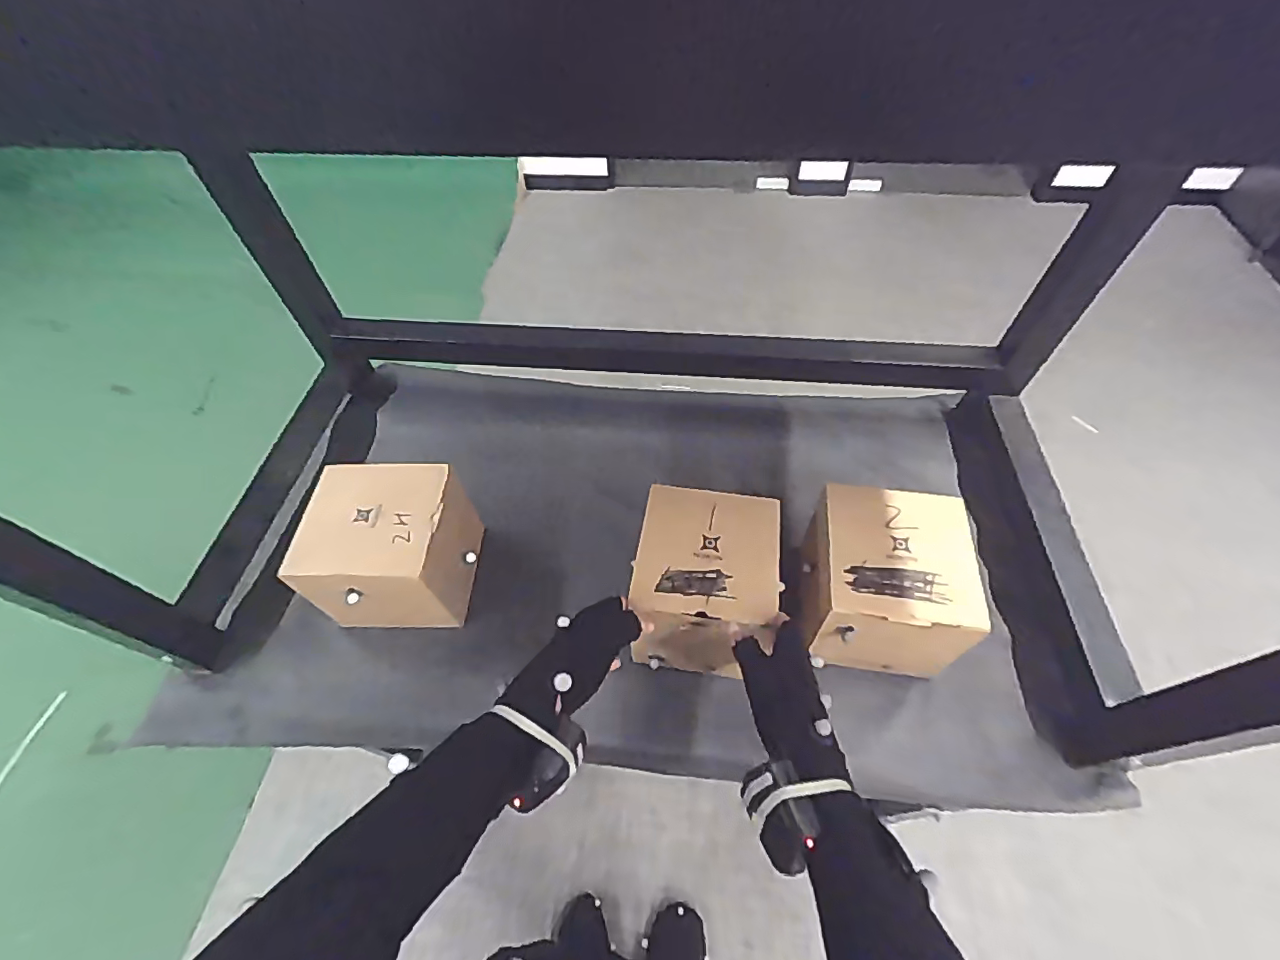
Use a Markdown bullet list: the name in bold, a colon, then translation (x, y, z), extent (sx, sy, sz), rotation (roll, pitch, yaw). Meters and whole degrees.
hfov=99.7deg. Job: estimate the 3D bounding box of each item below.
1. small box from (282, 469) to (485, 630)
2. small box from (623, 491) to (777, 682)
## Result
- **small box**: translation (-0.336, 0.100, 0.749), extent (0.179, 0.176, 0.168), rotation (0, 55, 2)
- **small box**: translation (0.079, 0.141, 0.697), extent (0.168, 0.176, 0.179), rotation (7, 51, 8)
